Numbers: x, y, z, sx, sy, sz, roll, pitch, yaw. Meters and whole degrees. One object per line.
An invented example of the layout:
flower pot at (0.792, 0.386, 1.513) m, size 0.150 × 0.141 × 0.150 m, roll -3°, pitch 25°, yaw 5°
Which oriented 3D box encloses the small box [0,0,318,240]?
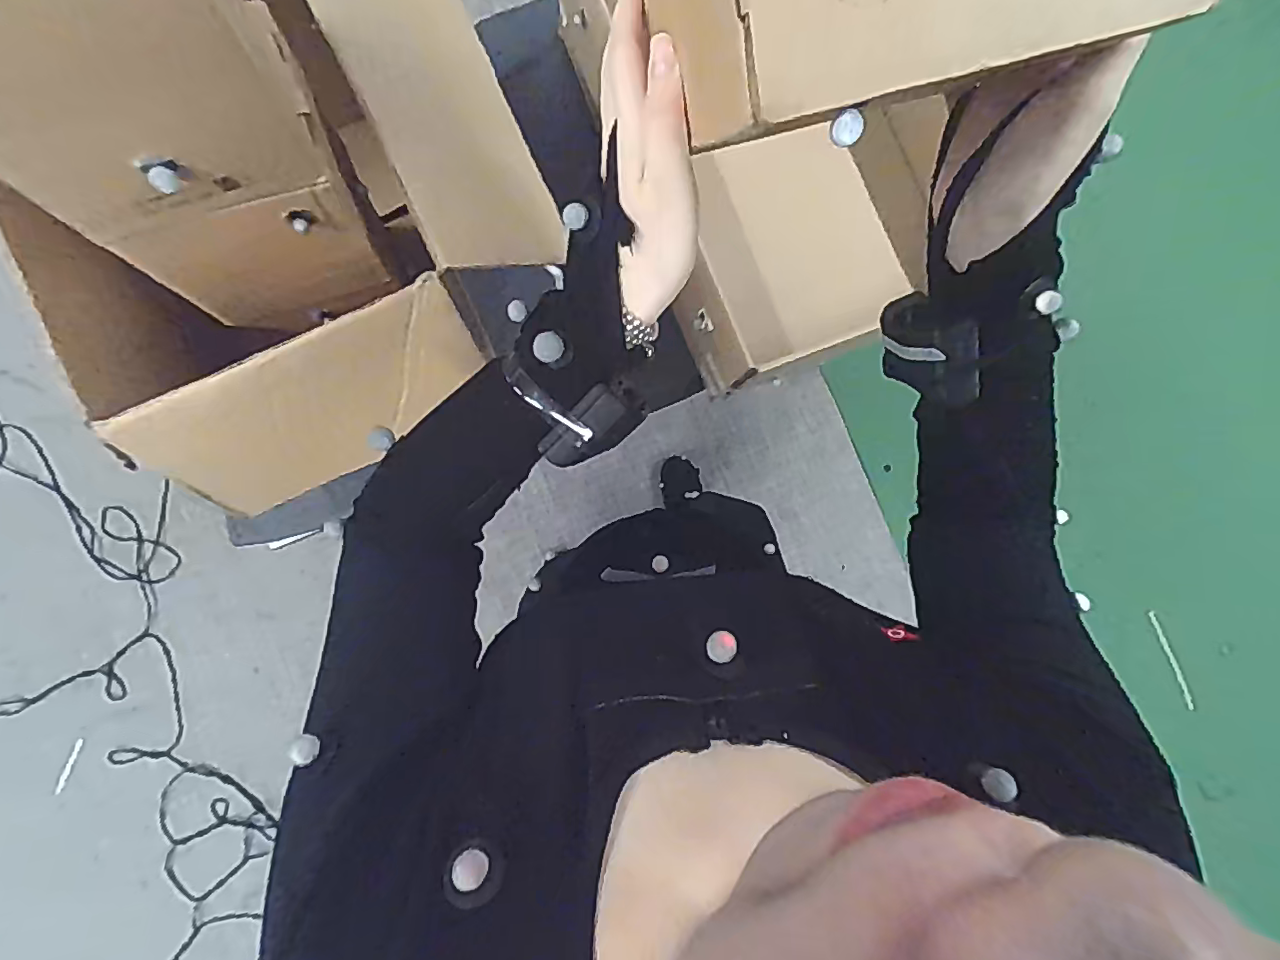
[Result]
small box at (-0.343, -0.290, 0.336) m, size 0.168 × 0.176 × 0.179 m, roll -24°, pitch 88°, yaw -11°

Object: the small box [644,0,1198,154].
small box at (0.091, -0.253, 0.227) m, size 0.179 × 0.176 × 0.168 m, roll -16°, pitch 118°, yaw -2°
